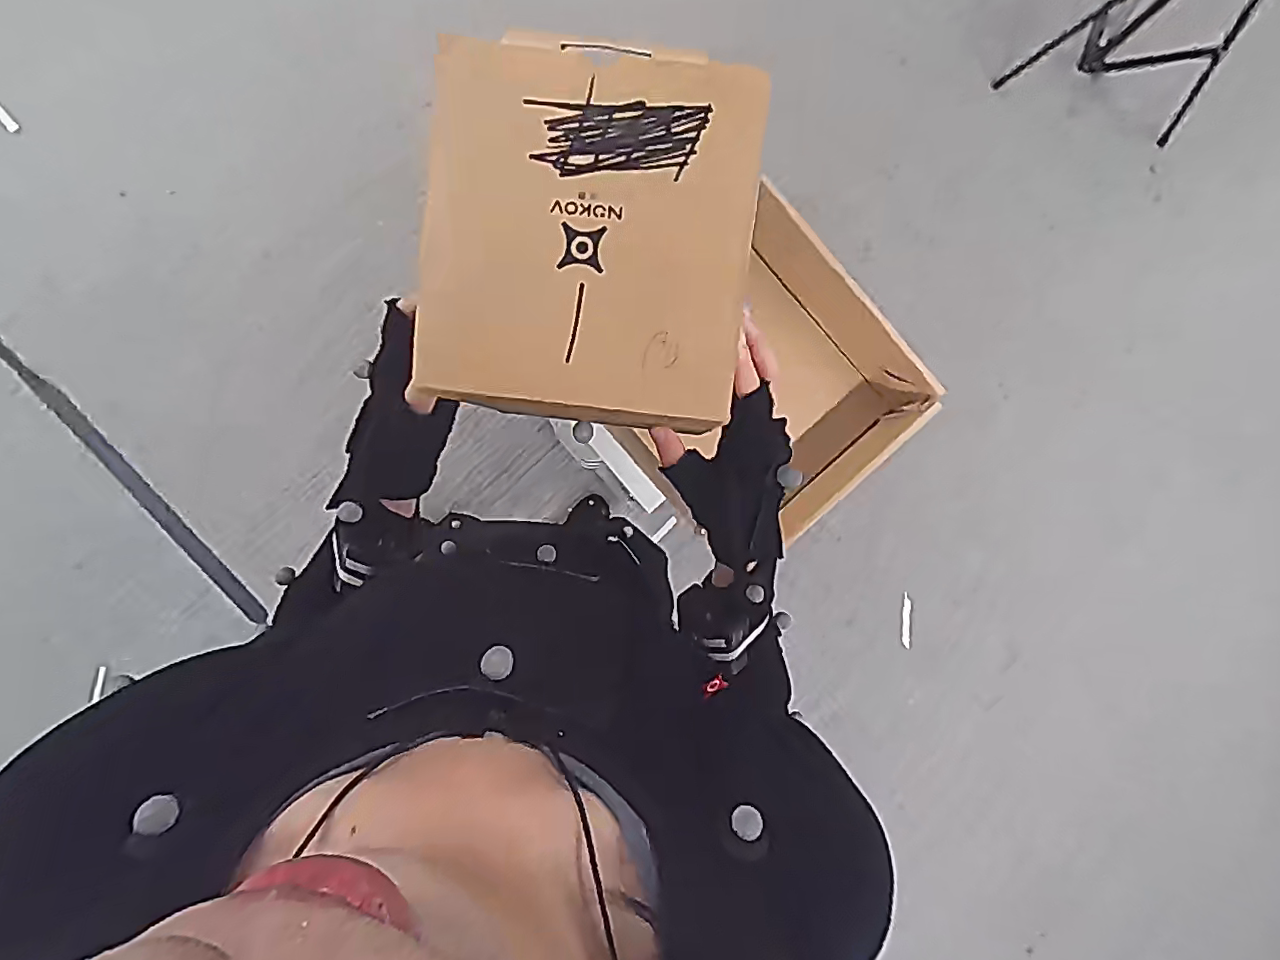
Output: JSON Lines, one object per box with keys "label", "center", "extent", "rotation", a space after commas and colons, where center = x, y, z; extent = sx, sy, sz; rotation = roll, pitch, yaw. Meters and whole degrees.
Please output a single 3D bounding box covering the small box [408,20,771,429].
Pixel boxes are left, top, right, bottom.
{"label": "small box", "center": [-0.025, -0.133, 0.348], "extent": [0.168, 0.176, 0.179], "rotation": [6, 92, 1]}
